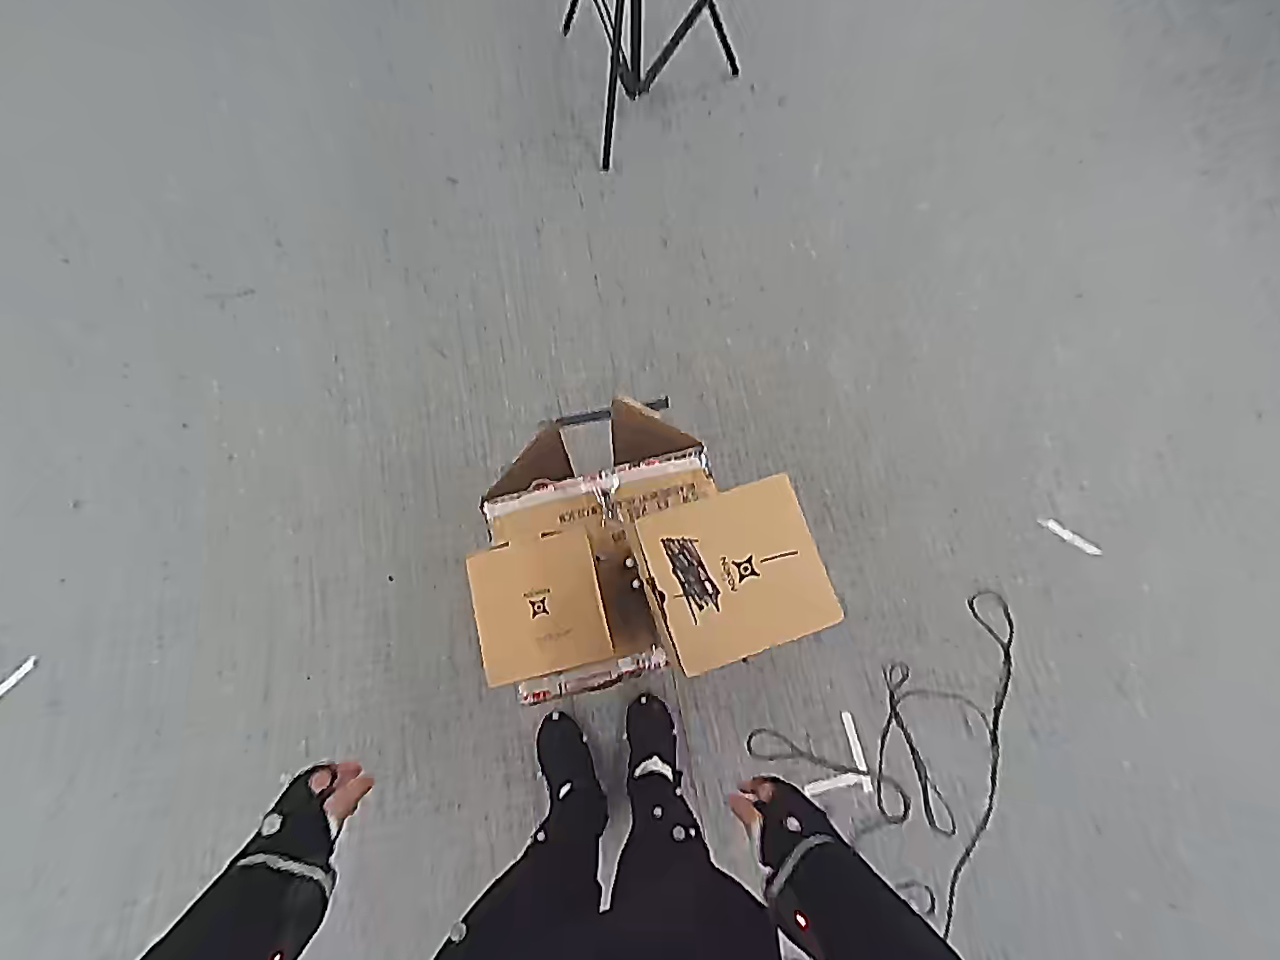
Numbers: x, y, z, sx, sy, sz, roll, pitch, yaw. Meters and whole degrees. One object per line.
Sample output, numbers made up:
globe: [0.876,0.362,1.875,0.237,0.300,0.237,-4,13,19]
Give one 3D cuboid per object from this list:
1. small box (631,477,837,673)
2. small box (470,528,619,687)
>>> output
small box: [0.095,0.114,0.642,0.179,0.176,0.168,-18,79,-7]
small box: [-0.131,0.182,0.789,0.168,0.176,0.179,-15,79,-3]
